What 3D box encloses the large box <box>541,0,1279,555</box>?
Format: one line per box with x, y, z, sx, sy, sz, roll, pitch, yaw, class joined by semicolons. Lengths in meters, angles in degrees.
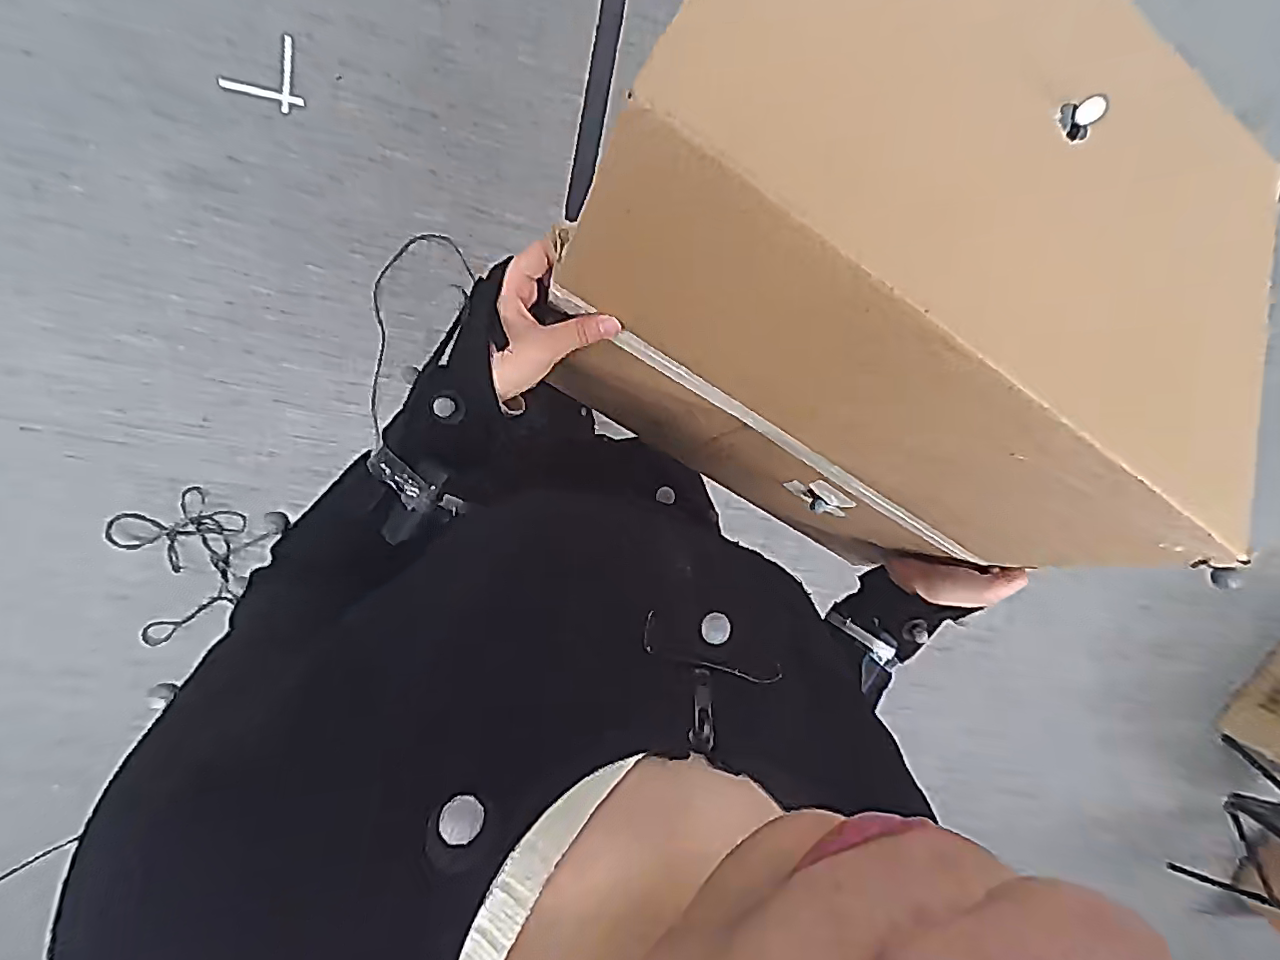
0.189;-0.172;0.412;0.408;0.320;0.320;29;74;-14;large box
